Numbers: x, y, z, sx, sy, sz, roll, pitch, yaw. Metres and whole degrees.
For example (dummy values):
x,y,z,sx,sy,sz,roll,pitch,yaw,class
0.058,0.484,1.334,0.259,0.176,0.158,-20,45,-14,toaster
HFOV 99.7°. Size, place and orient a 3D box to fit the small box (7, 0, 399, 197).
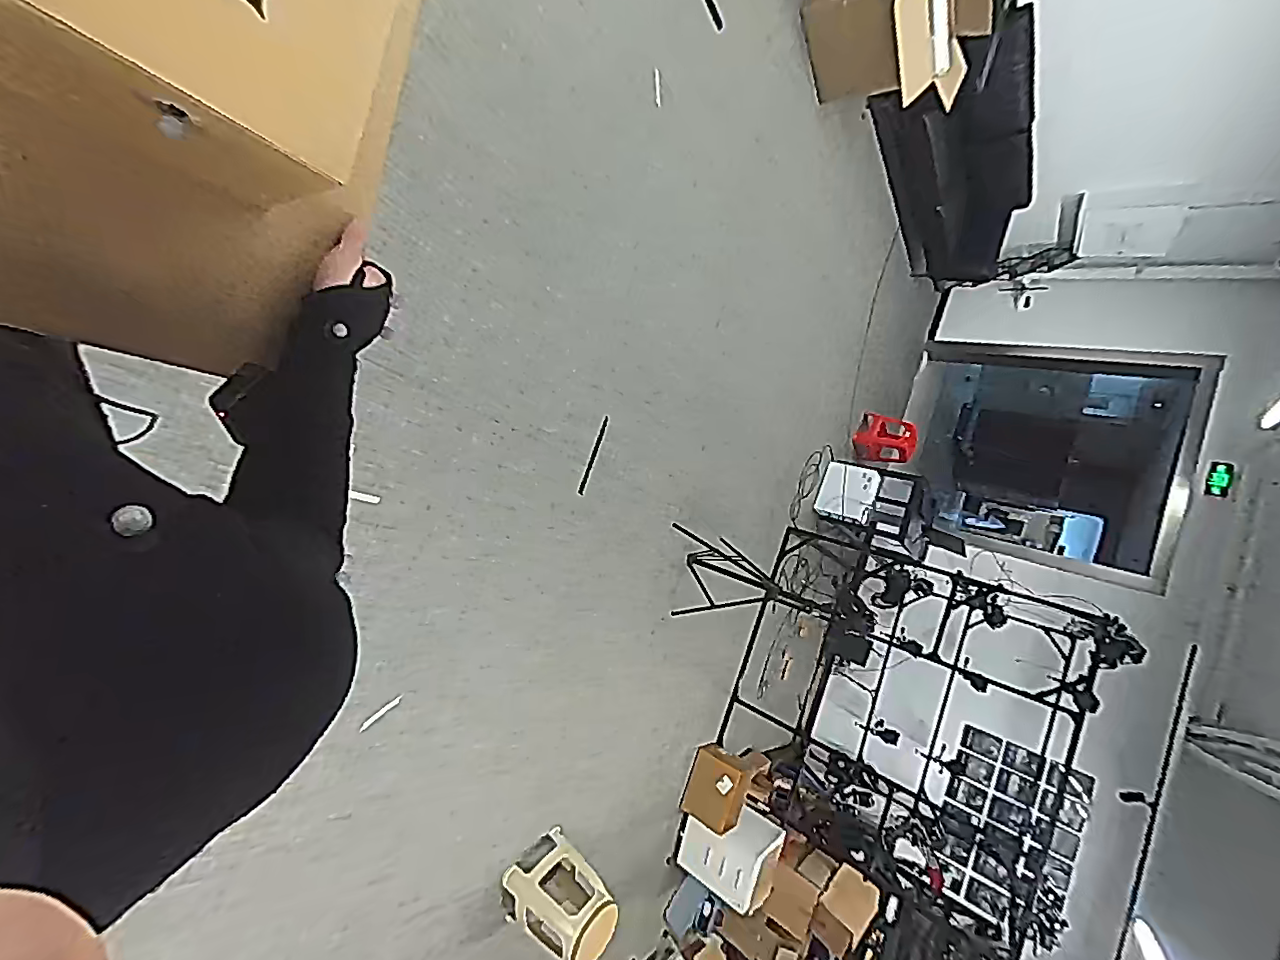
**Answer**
x,y,z,sx,sy,sz,roll,pitch,yaw,class
-0.319,-0.336,0.403,0.179,0.176,0.168,14,91,-52,small box
